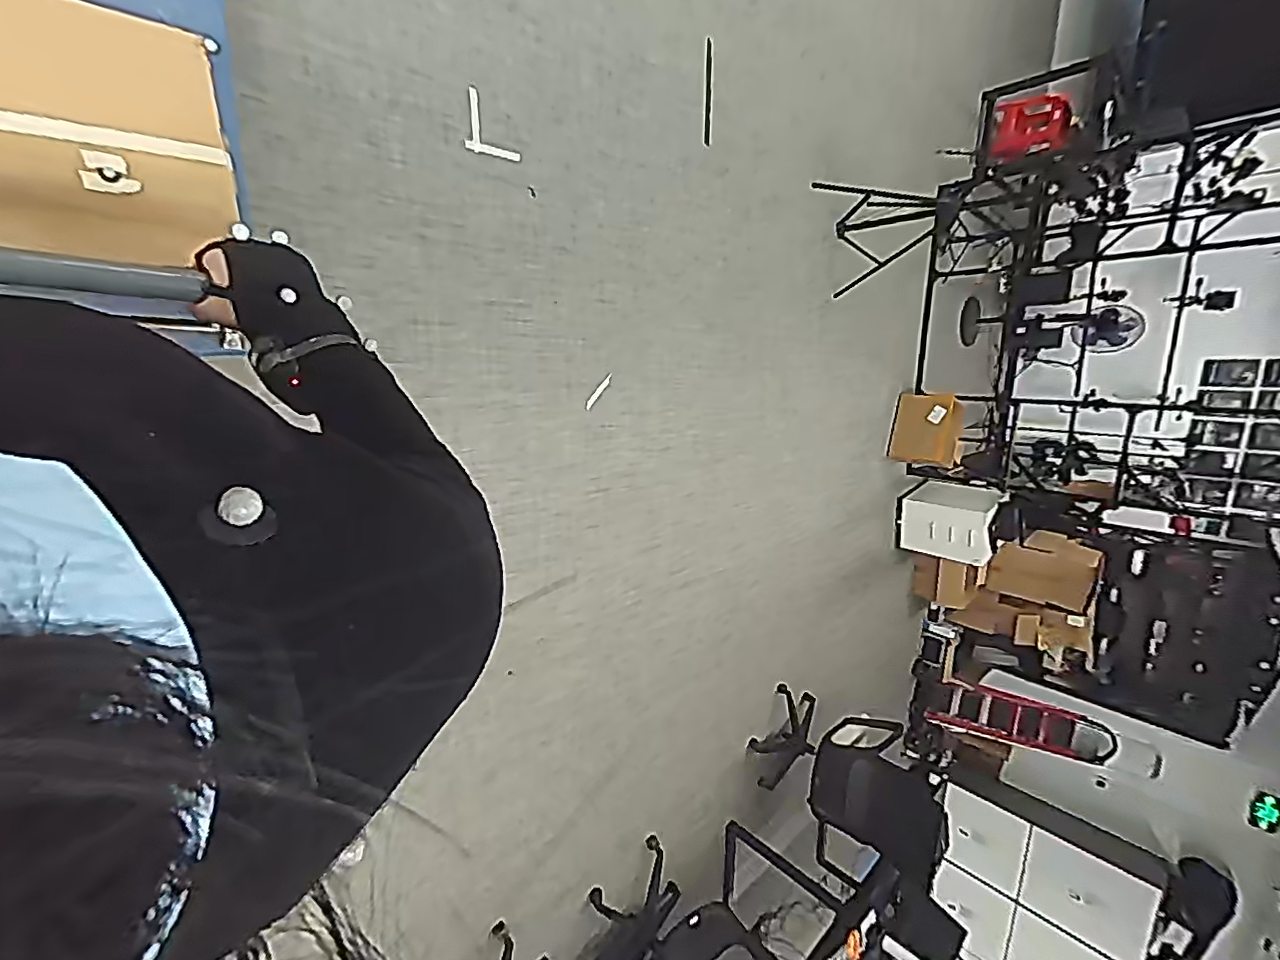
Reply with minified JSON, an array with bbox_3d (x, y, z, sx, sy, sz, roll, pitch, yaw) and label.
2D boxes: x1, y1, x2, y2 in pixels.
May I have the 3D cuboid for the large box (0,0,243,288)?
[{"bbox_3d":[-0.865,-0.456,0.767,0.408,0.320,0.320,-15,110,-43],"label":"large box"}]
